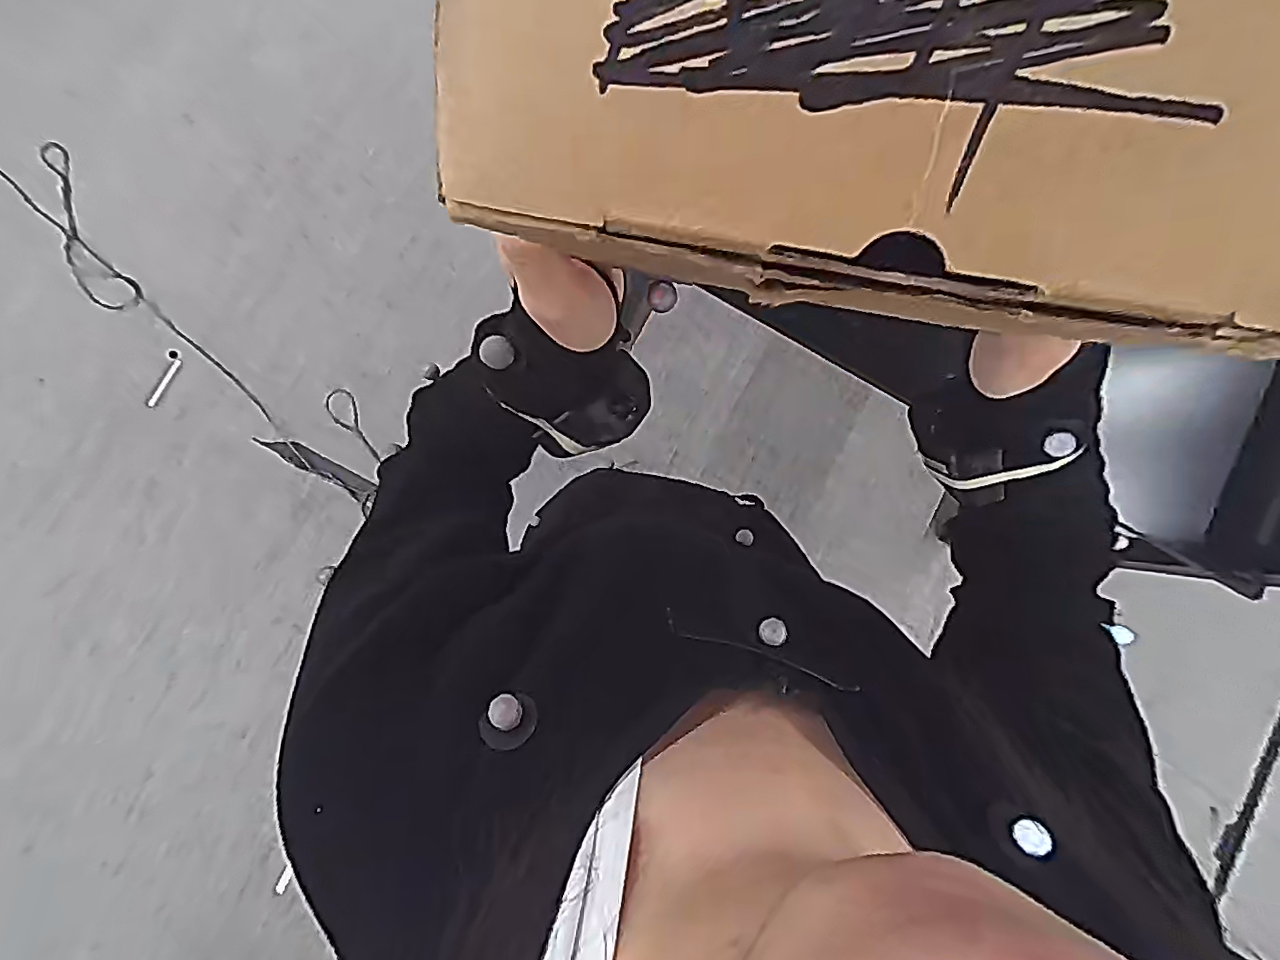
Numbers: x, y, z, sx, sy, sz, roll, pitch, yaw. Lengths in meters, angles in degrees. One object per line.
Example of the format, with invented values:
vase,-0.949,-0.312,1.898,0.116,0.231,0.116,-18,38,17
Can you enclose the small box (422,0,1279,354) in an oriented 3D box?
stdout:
small box,0.065,-0.141,0.139,0.168,0.176,0.179,11,109,3
